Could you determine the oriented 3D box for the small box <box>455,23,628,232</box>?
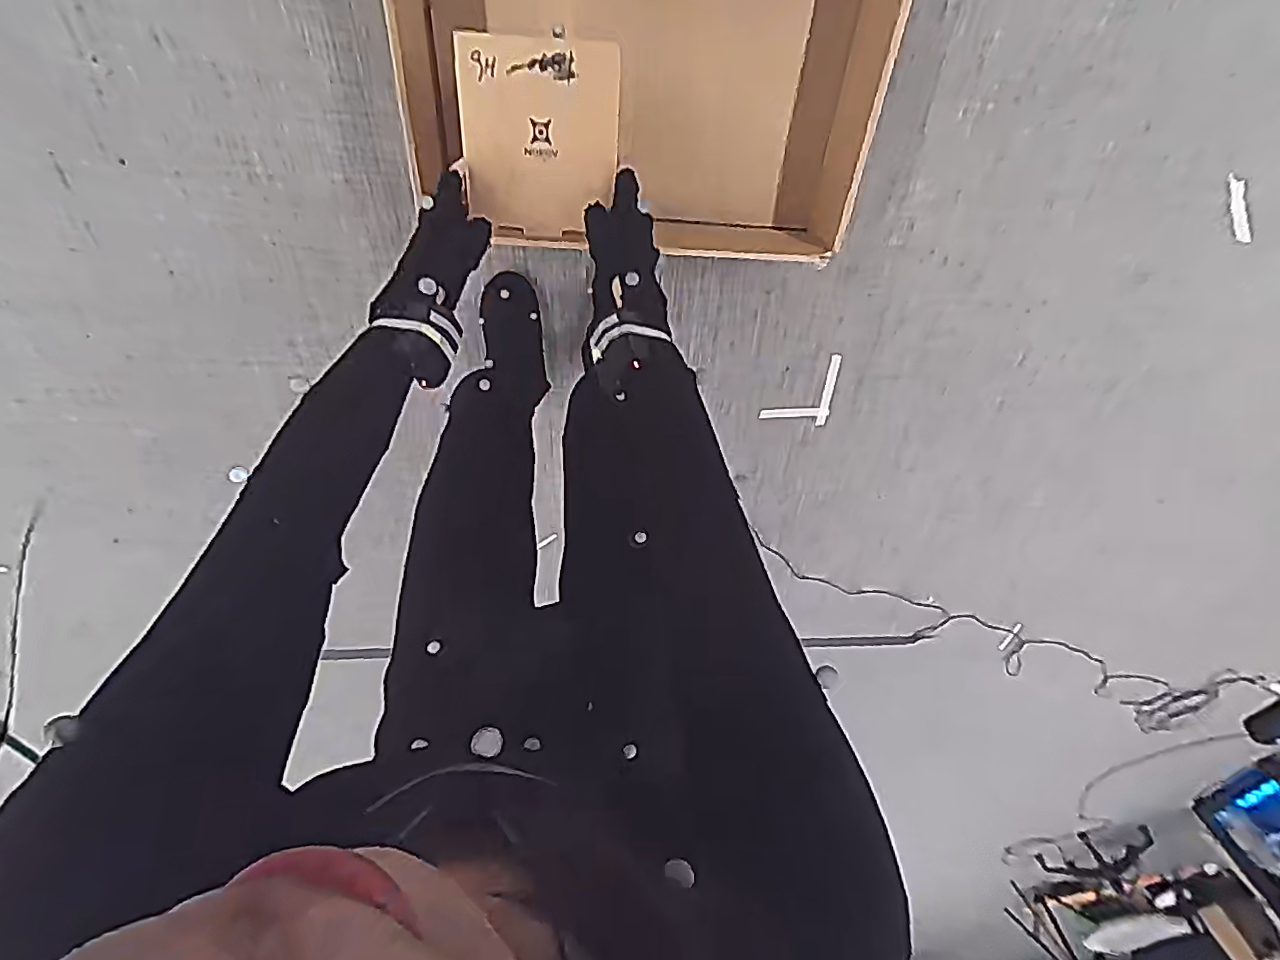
[{"bbox_3d":[-0.101,-0.401,0.629,0.168,0.176,0.179,2,122,-2],"label":"small box"}]
